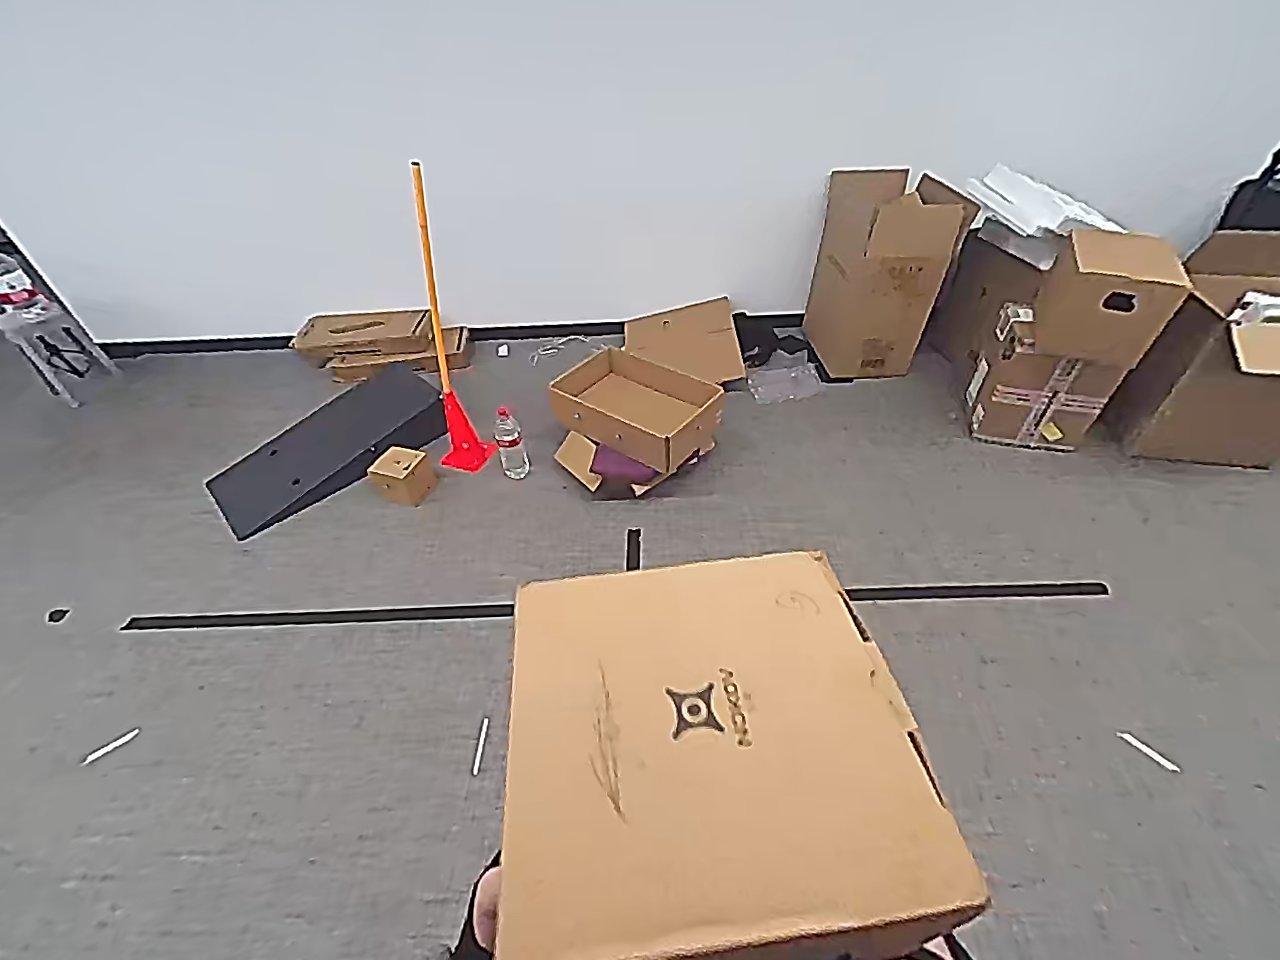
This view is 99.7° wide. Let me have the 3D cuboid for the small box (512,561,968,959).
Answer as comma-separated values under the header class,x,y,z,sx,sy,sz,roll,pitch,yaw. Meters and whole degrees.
class,x,y,z,sx,sy,sz,roll,pitch,yaw
small box,0.032,0.171,0.308,0.179,0.176,0.168,-8,43,-4
